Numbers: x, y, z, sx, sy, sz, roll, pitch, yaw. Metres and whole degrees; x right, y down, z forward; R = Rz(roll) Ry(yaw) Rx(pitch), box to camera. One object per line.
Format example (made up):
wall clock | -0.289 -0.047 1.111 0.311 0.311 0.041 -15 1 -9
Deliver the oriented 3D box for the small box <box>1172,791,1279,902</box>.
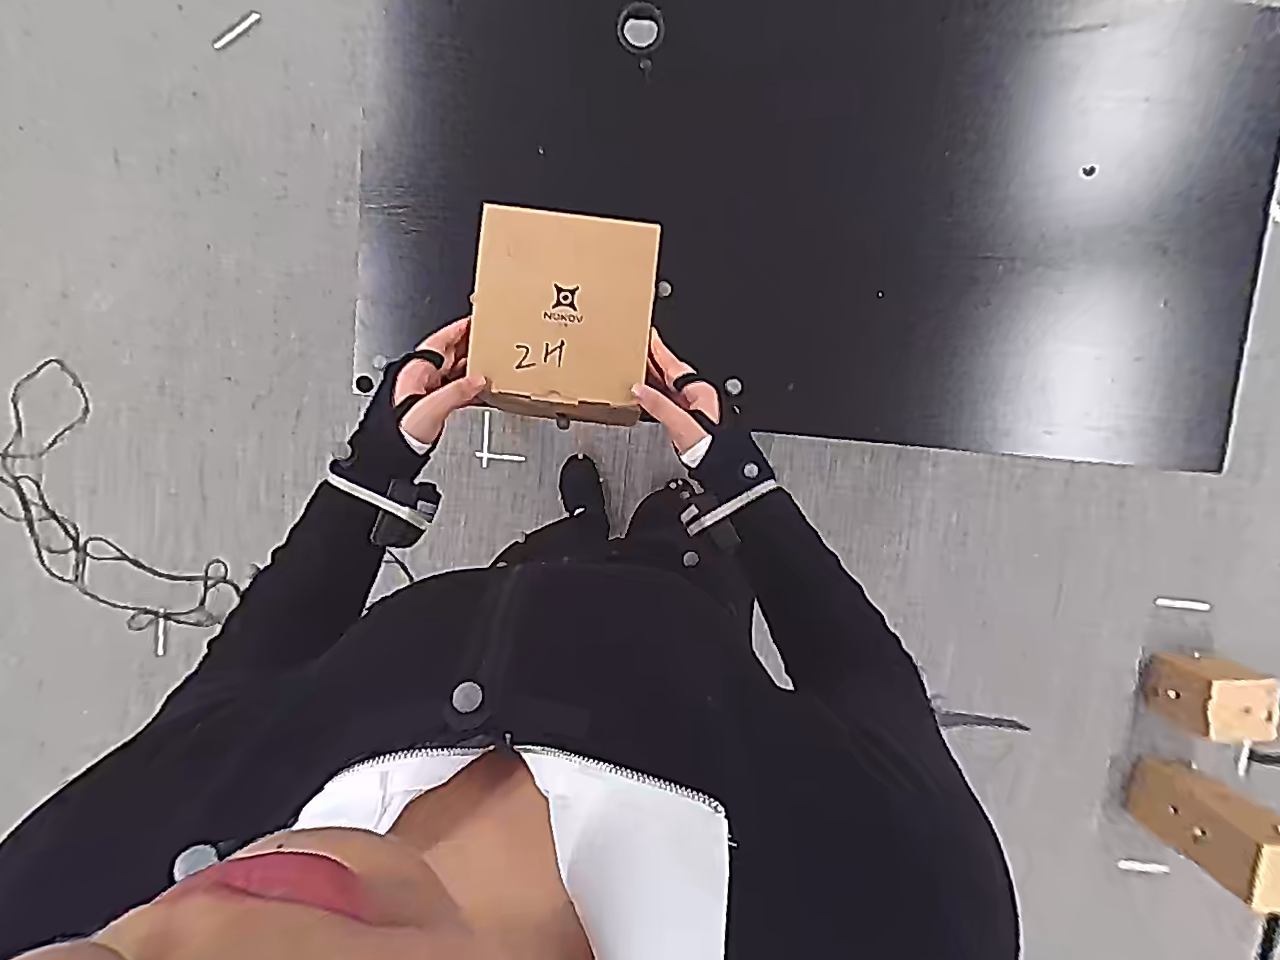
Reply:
small box | 1.505 0.907 1.348 0.179 0.176 0.168 4 95 1

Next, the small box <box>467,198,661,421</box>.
small box | -0.075 -0.166 0.581 0.168 0.176 0.179 6 90 -3

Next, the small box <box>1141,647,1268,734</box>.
small box | 1.528 0.568 1.474 0.179 0.176 0.168 -1 96 0

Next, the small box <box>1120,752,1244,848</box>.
small box | 1.502 0.895 1.510 0.168 0.176 0.179 9 97 -1
